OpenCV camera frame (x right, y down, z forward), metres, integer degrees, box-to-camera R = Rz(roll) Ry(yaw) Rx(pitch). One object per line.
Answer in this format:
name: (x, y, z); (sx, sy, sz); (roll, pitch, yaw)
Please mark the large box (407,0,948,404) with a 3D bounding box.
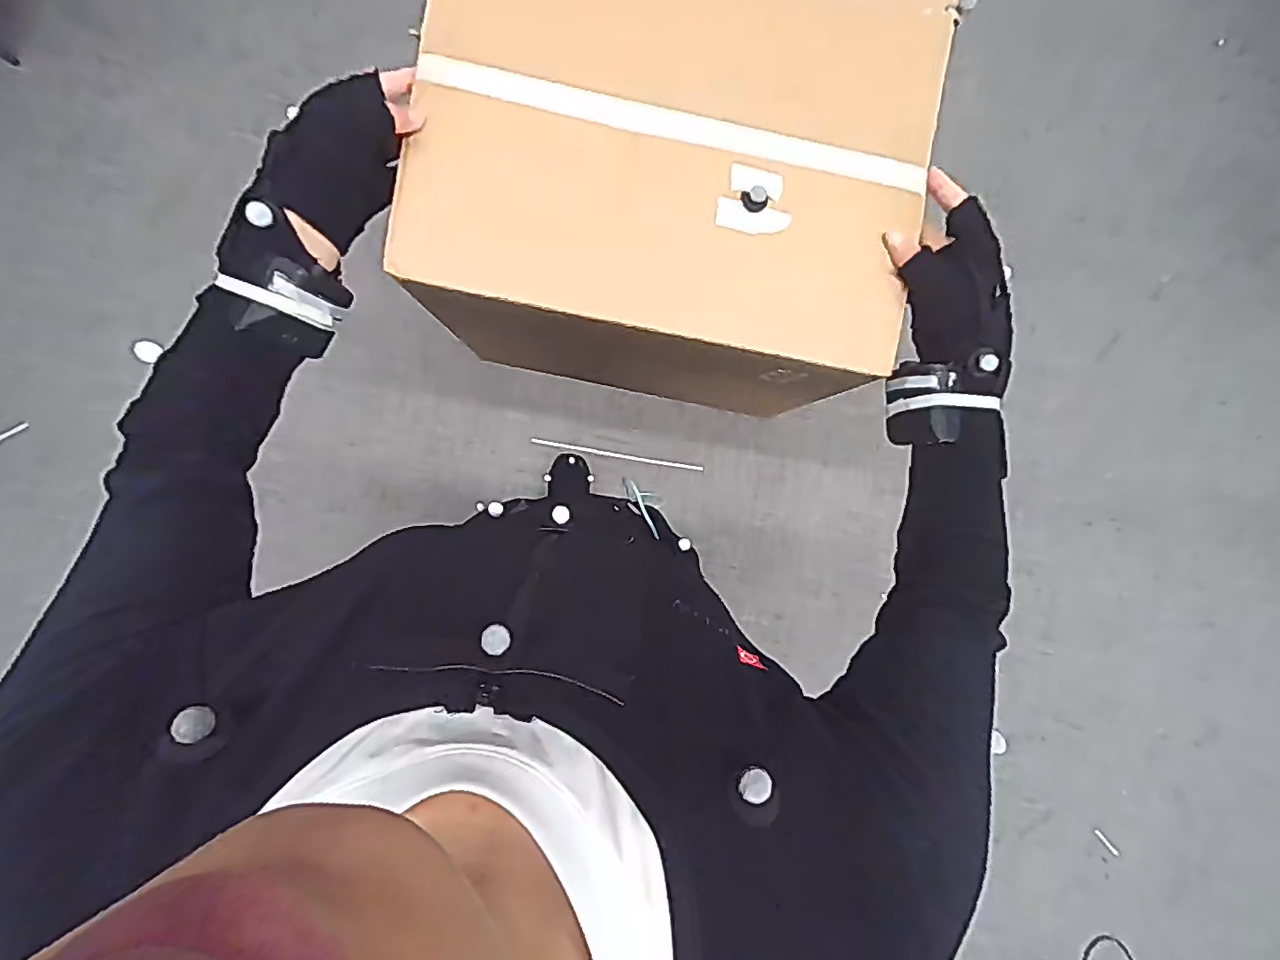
large box: (0.025, -0.283, 0.580); (0.408, 0.320, 0.320); (10, 91, -4)
